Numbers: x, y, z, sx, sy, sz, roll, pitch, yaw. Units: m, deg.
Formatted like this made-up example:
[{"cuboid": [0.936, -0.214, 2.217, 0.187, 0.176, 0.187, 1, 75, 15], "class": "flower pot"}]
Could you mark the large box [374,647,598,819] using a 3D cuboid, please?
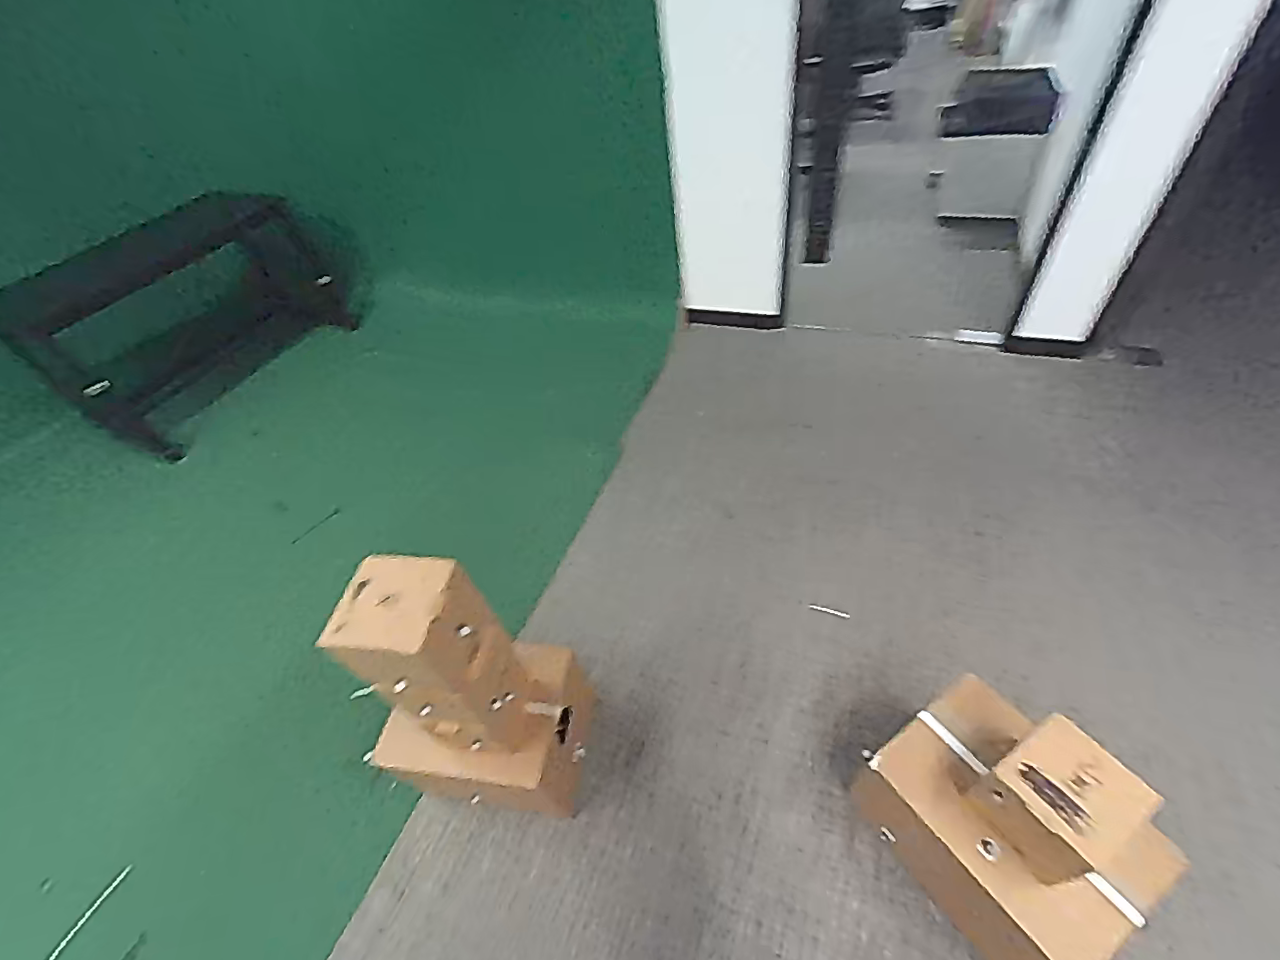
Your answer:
[{"cuboid": [-0.352, 0.629, 1.363, 0.408, 0.320, 0.320, 0, 46, 13], "class": "large box"}]

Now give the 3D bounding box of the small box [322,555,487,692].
[{"cuboid": [-0.389, 0.250, 0.934, 0.179, 0.176, 0.168, 3, 48, 11], "class": "small box"}]

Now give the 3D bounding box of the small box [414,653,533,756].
[{"cuboid": [-0.347, 0.475, 1.169, 0.168, 0.176, 0.179, 2, 48, 12], "class": "small box"}]

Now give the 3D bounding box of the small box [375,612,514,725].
[{"cuboid": [-0.365, 0.363, 1.052, 0.179, 0.176, 0.168, 1, 48, 12], "class": "small box"}]
